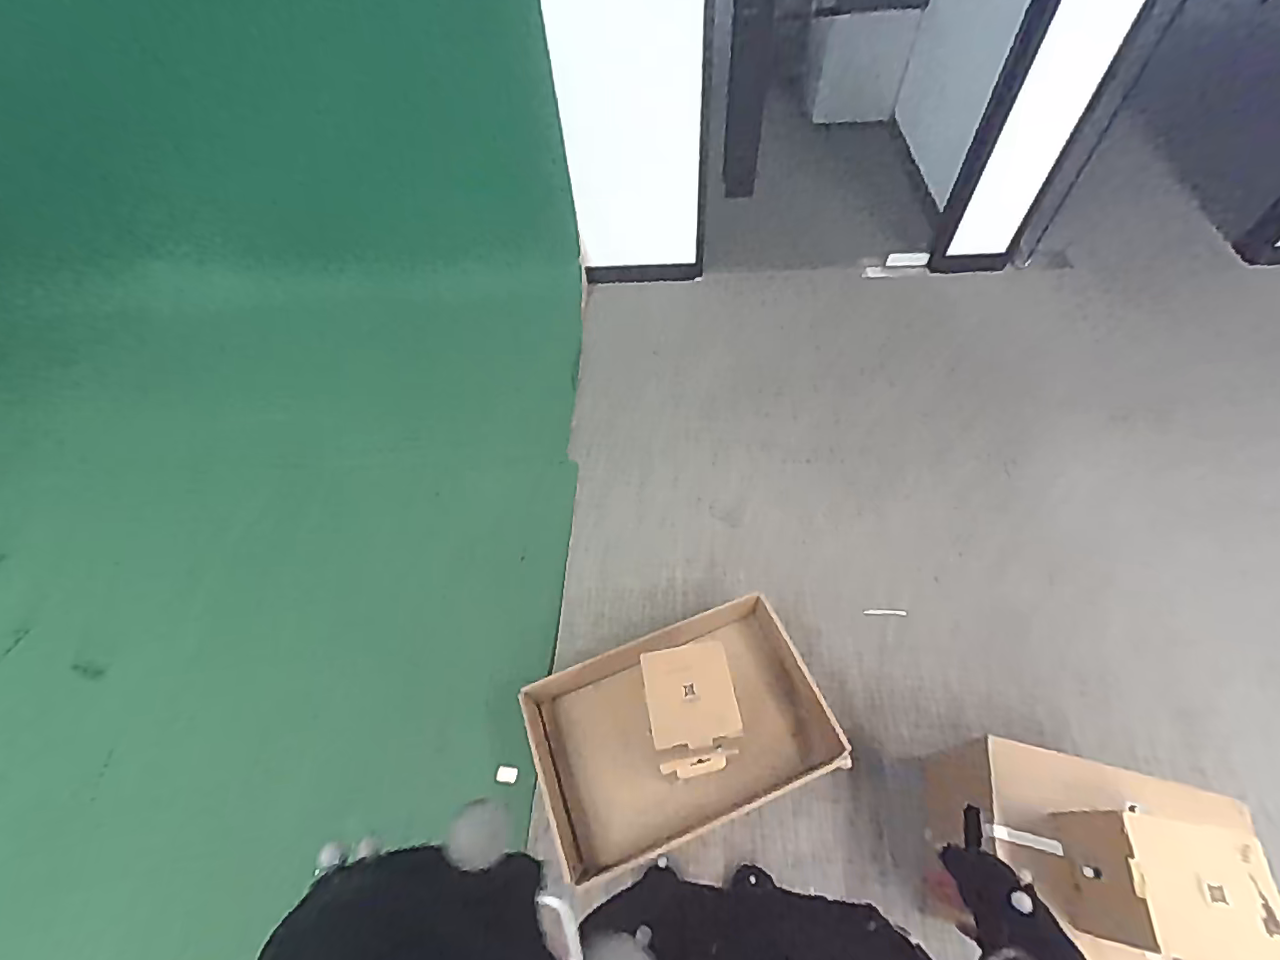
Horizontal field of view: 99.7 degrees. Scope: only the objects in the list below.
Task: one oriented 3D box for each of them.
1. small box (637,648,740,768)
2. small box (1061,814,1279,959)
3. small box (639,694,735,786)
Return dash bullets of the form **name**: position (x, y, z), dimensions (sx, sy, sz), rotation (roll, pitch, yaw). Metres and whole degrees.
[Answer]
- **small box**: position (0.093, 0.457, 1.071), dimensions (0.168, 0.176, 0.179), rotation (-10, 53, -3)
- **small box**: position (0.766, 0.609, 0.798), dimensions (0.179, 0.176, 0.168), rotation (6, 57, 8)
- **small box**: position (0.103, 0.561, 1.195), dimensions (0.168, 0.176, 0.179), rotation (-14, 54, -4)
